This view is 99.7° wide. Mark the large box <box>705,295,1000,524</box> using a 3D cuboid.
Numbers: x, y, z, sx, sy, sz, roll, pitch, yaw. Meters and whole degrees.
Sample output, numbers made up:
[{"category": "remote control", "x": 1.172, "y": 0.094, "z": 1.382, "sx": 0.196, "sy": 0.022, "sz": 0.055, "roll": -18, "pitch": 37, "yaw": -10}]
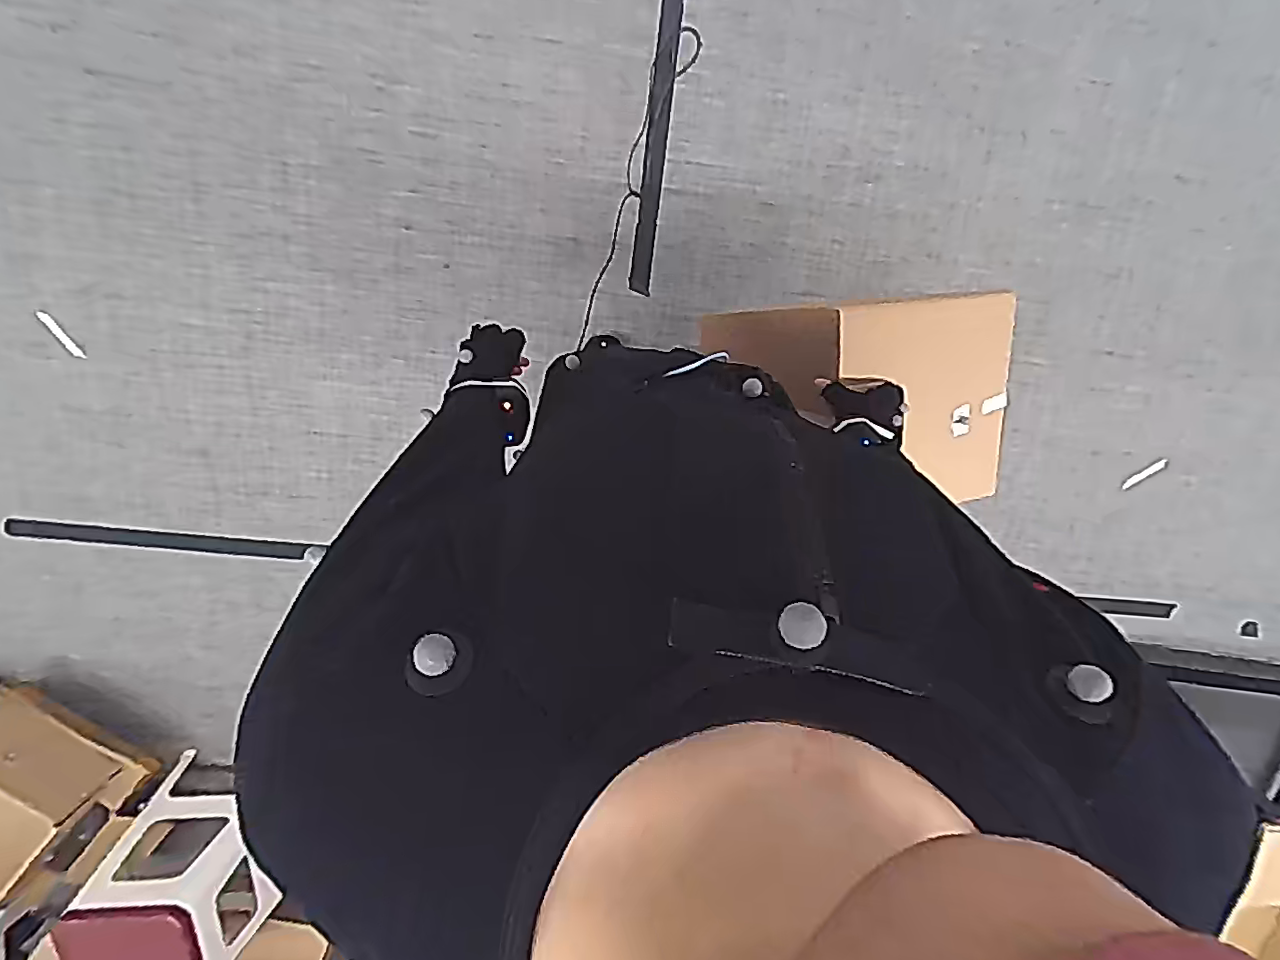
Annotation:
[{"category": "large box", "x": 0.345, "y": -0.150, "z": 0.973, "sx": 0.320, "sy": 0.408, "sz": 0.320, "roll": -9, "pitch": 108, "yaw": -16}]
